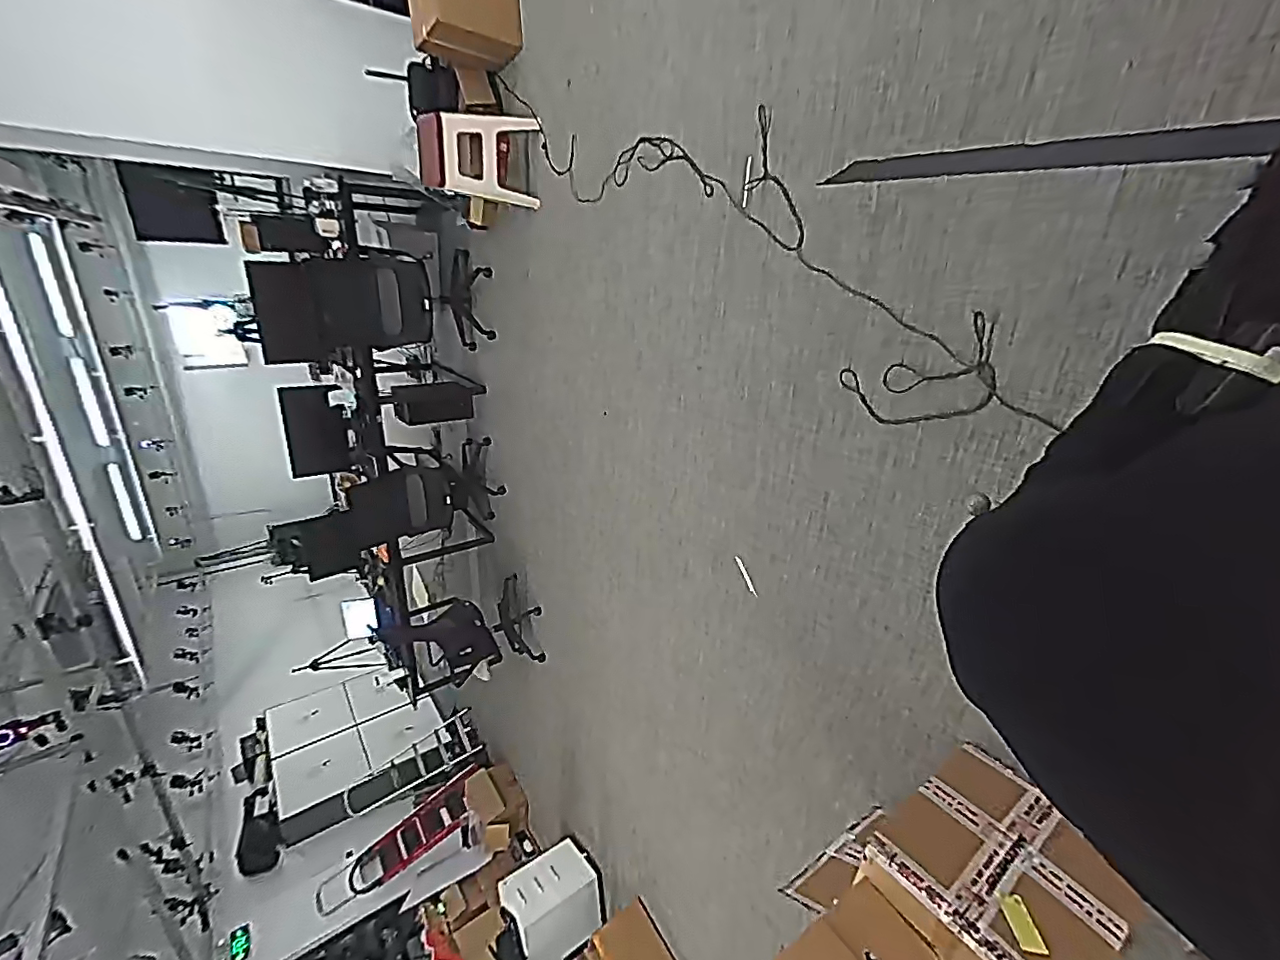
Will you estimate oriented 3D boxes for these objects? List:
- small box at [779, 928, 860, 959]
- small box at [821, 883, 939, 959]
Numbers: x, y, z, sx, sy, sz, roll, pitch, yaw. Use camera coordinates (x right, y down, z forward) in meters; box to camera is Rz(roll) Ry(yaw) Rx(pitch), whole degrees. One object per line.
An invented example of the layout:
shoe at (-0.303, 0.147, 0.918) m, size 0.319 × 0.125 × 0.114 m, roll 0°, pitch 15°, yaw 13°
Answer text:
small box at (0.349, 1.001, 1.017) m, size 0.179 × 0.176 × 0.168 m, roll 34°, pitch 126°, yaw 48°
small box at (0.480, 0.997, 1.120) m, size 0.179 × 0.176 × 0.168 m, roll 38°, pitch 129°, yaw 46°
